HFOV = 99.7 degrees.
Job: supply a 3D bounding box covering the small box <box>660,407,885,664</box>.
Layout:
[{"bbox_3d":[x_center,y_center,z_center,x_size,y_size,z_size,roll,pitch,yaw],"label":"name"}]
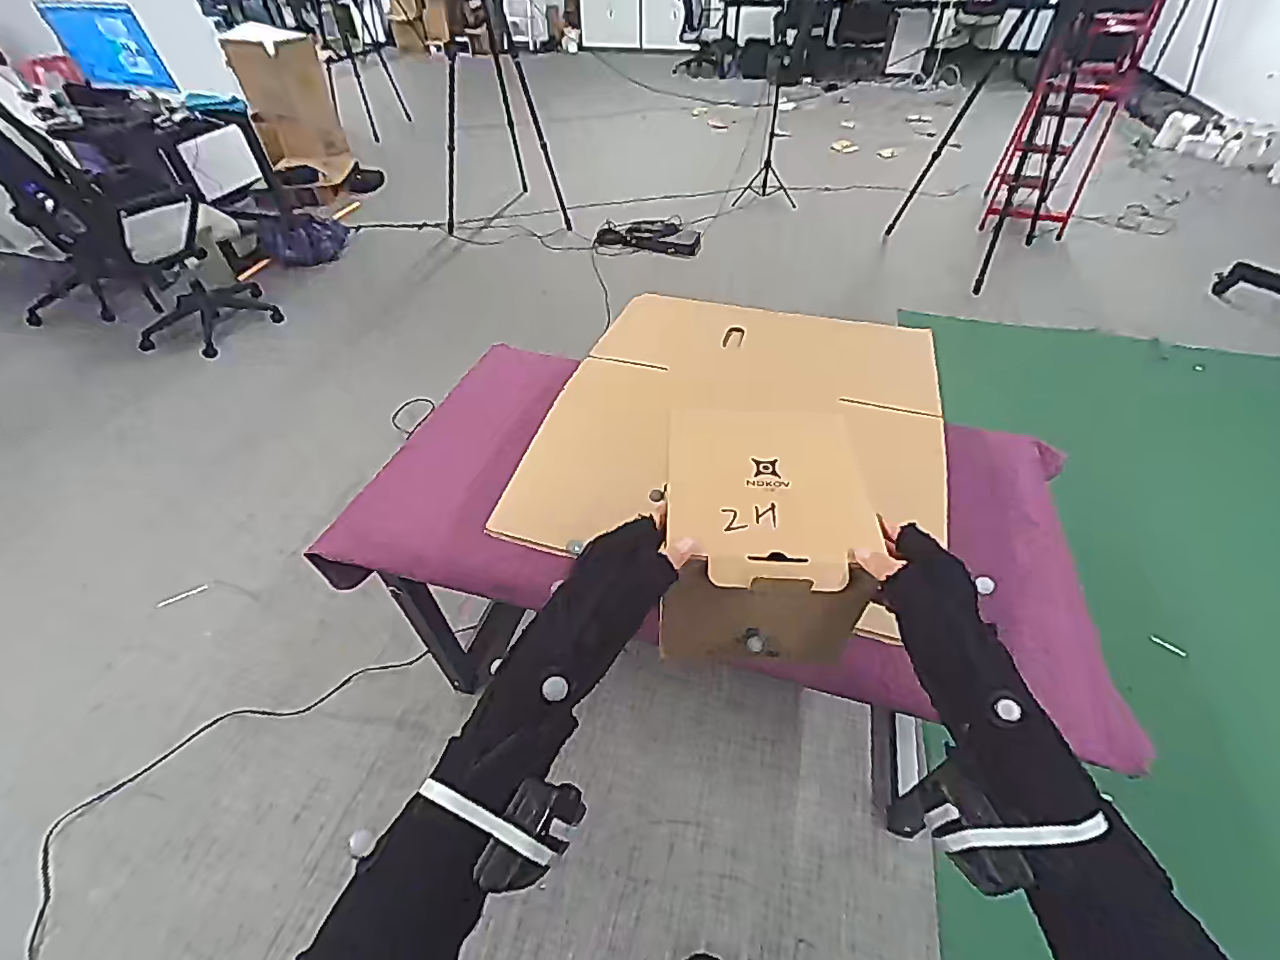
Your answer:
[{"bbox_3d":[0.106,0.052,0.517,0.168,0.176,0.179,2,47,3],"label":"small box"}]
